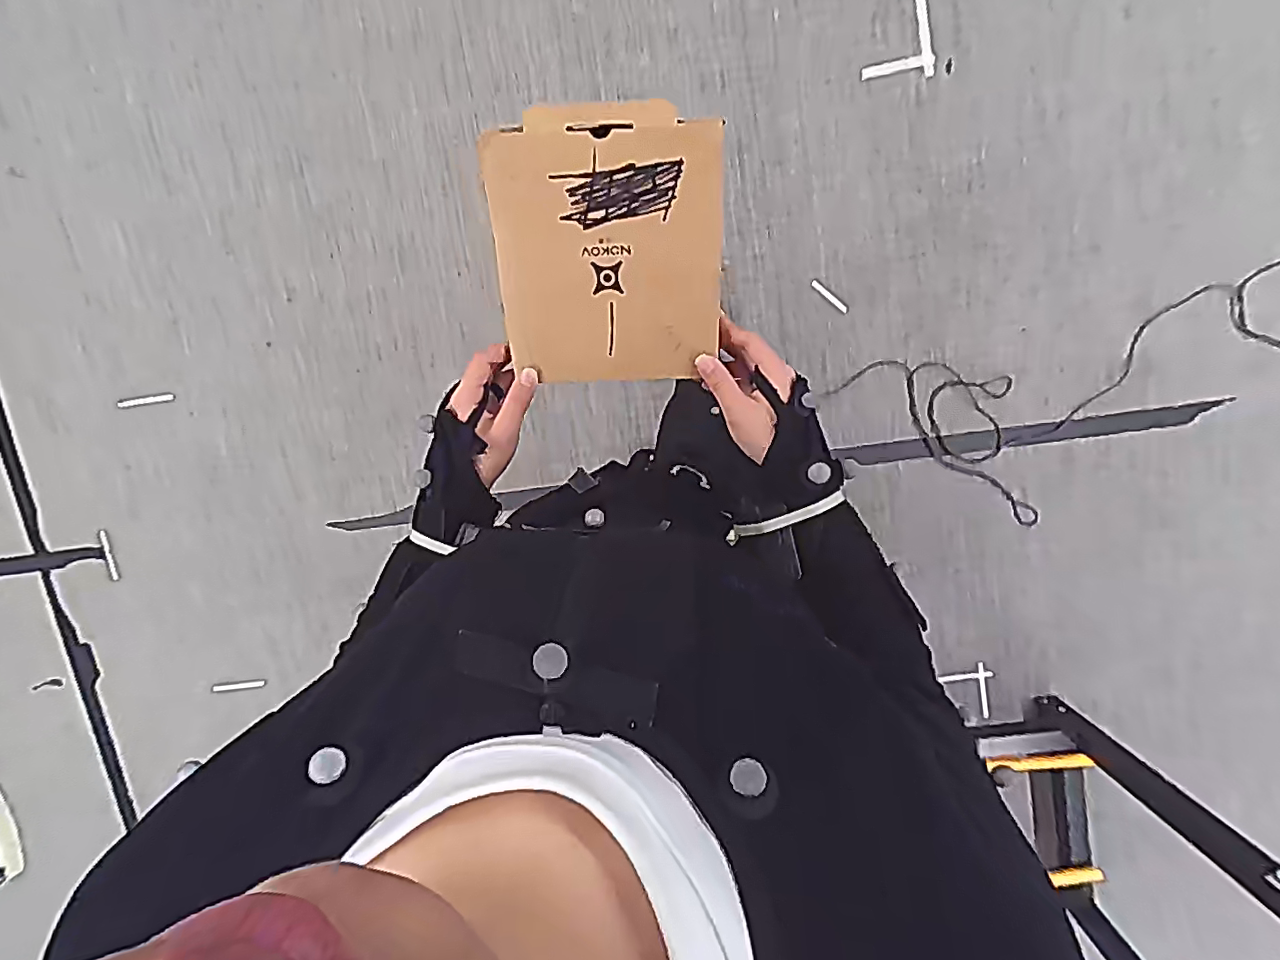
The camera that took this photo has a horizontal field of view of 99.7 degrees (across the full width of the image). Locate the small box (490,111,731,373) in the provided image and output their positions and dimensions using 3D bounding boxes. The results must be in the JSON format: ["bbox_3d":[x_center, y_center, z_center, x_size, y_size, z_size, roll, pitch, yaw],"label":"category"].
[{"bbox_3d":[-0.018,-0.199,0.468,0.168,0.176,0.179,-1,116,2],"label":"small box"}]
